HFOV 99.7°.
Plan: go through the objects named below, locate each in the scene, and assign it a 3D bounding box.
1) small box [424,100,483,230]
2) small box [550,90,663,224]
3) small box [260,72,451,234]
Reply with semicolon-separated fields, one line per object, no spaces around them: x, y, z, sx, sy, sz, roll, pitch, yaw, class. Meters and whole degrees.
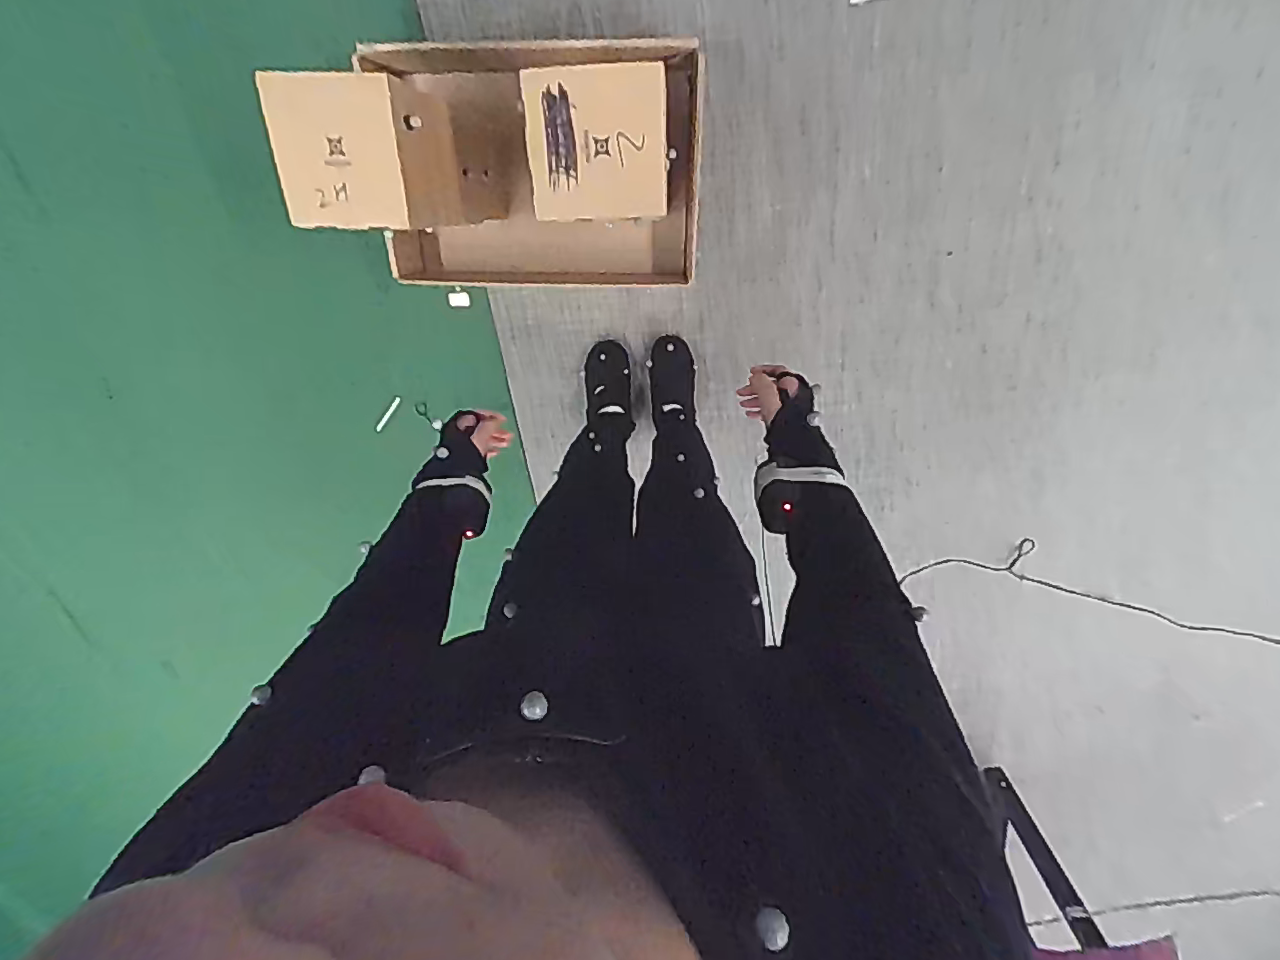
-0.372;-0.526;0.911;0.168;0.176;0.179;4;118;0;small box
-0.048;-0.522;0.893;0.168;0.176;0.179;1;117;4;small box
-0.383;-0.450;0.765;0.168;0.176;0.179;2;117;1;small box
